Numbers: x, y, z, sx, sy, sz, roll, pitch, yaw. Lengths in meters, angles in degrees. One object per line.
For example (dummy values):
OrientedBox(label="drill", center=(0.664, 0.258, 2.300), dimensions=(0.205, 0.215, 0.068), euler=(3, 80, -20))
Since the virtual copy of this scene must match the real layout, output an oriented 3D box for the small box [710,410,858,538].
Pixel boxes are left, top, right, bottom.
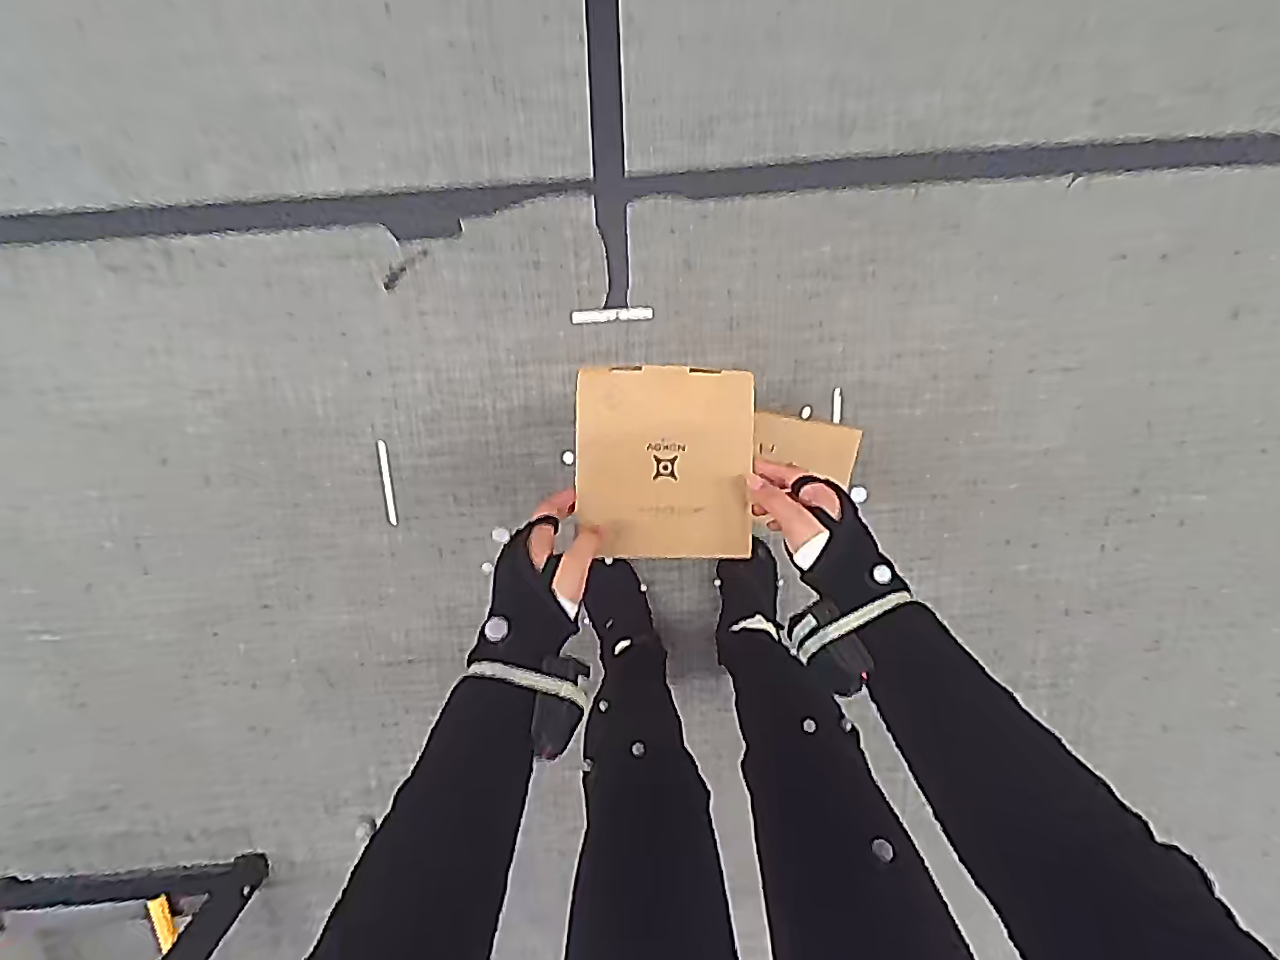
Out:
OrientedBox(label="small box", center=(0.228, -0.018, 0.903), dimensions=(0.179, 0.176, 0.168), euler=(10, 102, -4))
